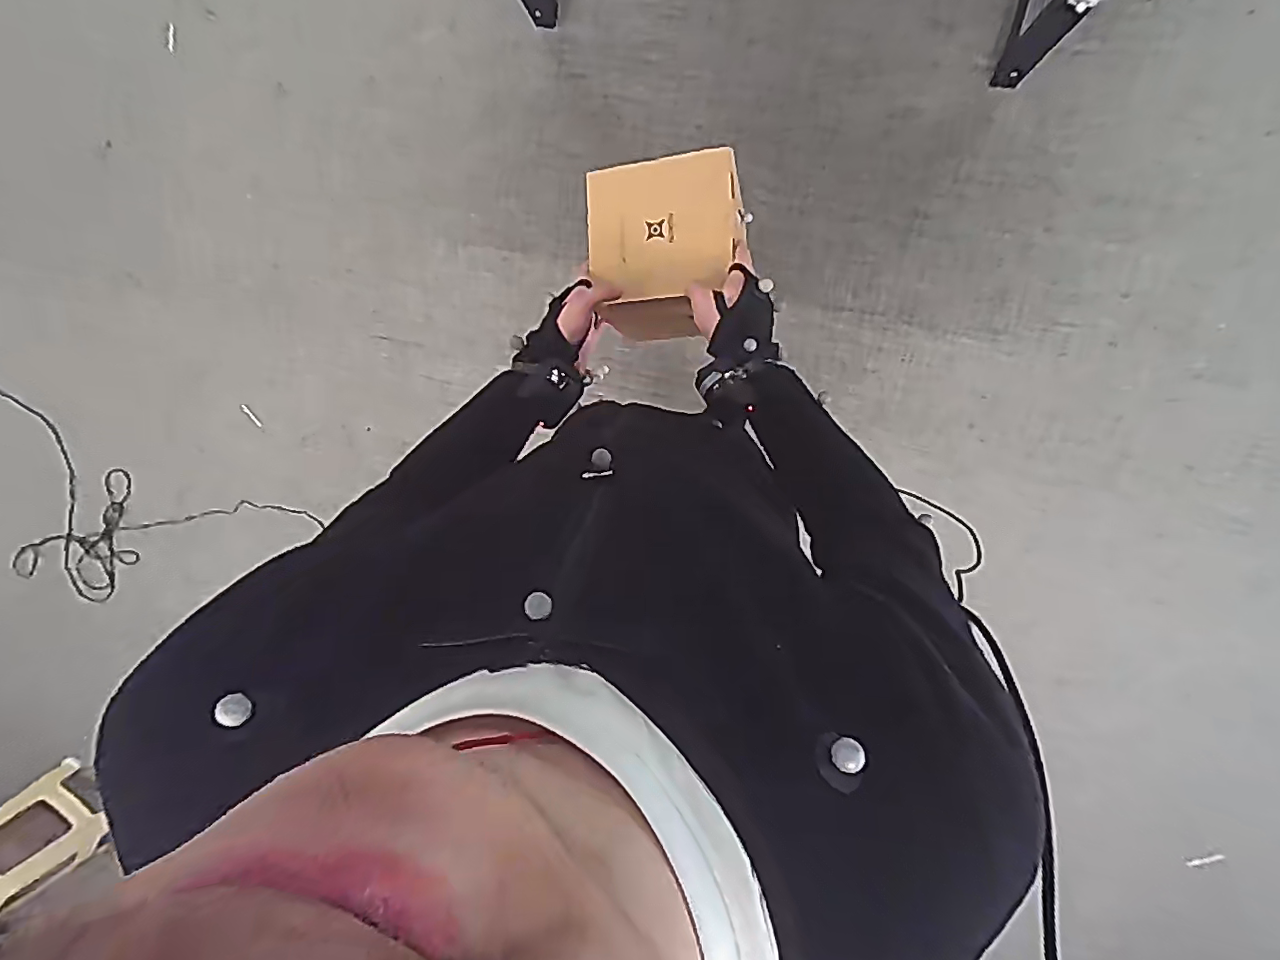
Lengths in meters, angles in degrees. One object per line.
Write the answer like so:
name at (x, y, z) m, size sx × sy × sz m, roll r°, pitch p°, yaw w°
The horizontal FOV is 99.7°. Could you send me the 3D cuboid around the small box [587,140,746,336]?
small box at (0.042, -0.290, 0.689) m, size 0.179 × 0.176 × 0.168 m, roll 0°, pitch 88°, yaw 15°
